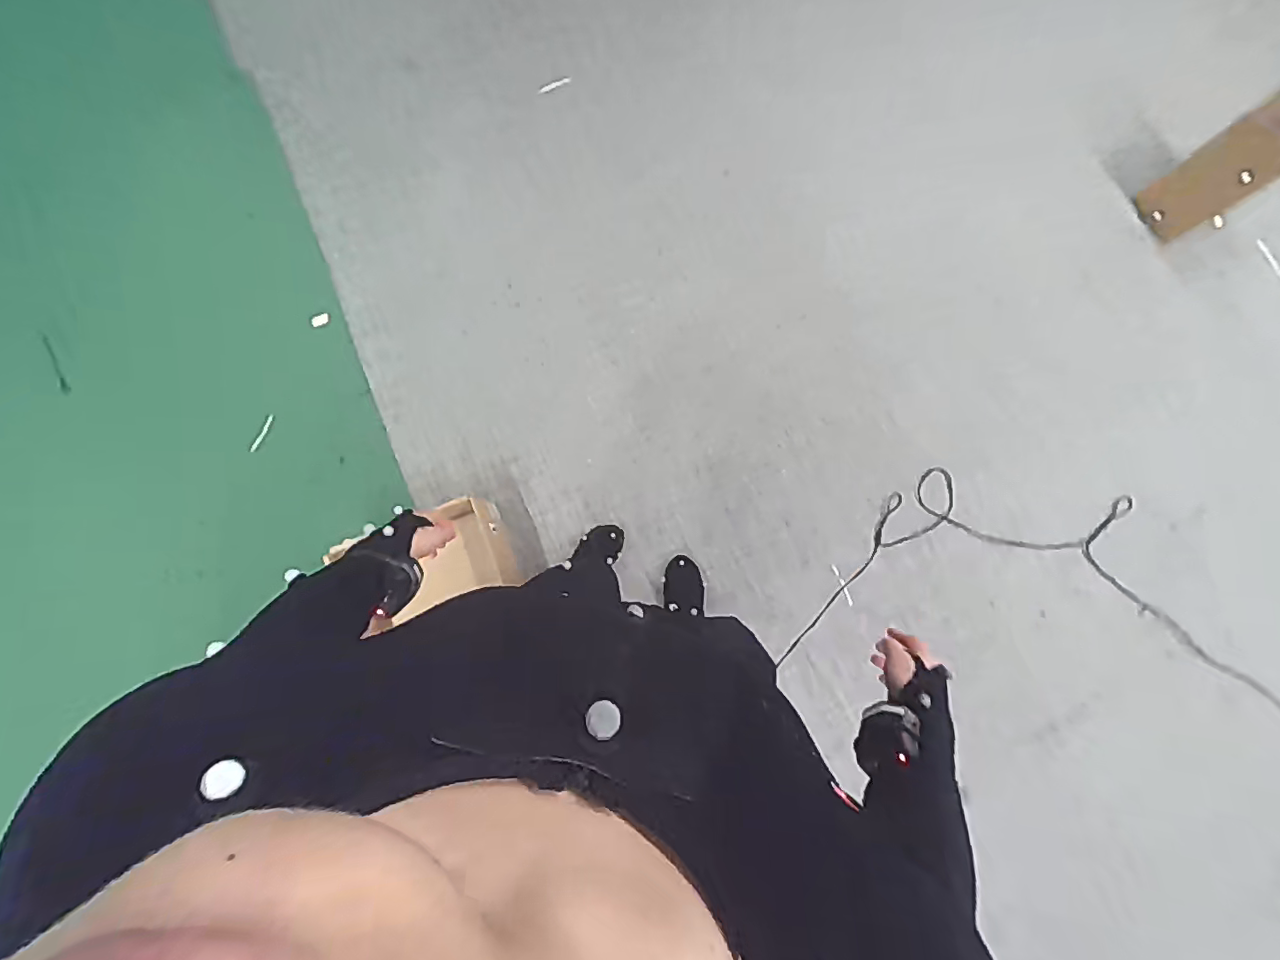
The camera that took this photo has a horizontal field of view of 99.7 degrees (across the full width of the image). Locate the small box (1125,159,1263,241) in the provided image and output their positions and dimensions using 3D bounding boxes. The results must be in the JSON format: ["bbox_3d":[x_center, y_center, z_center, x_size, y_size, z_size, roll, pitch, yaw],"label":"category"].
[{"bbox_3d":[1.533,-0.800,1.508,0.168,0.176,0.179,-26,82,-2],"label":"small box"}]

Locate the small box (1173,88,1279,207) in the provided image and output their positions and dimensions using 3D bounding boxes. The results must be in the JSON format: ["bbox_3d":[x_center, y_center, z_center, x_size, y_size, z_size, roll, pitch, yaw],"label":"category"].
[{"bbox_3d":[1.518,-0.818,1.346,0.168,0.176,0.179,-29,80,-3],"label":"small box"}]
